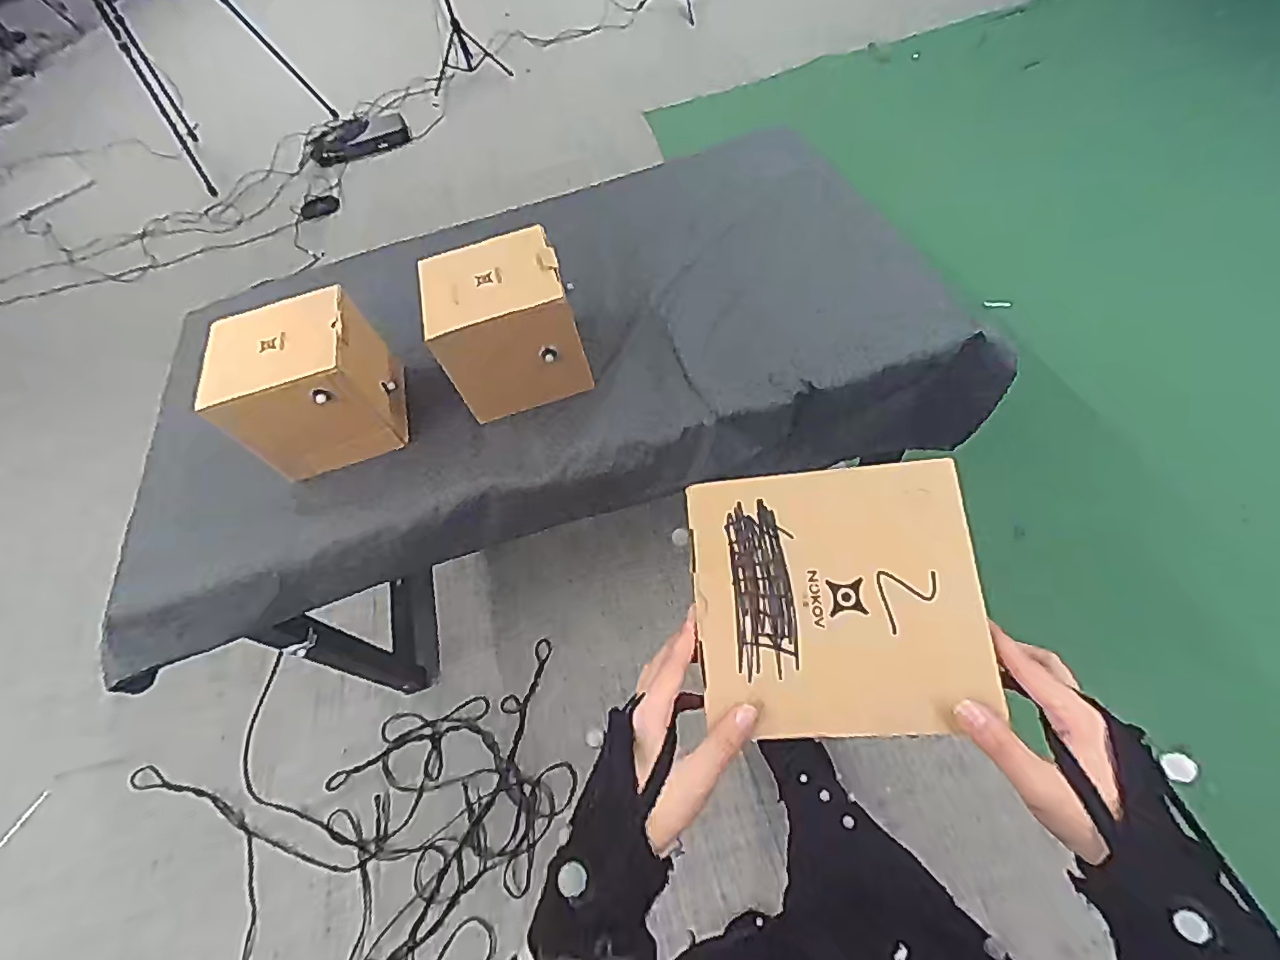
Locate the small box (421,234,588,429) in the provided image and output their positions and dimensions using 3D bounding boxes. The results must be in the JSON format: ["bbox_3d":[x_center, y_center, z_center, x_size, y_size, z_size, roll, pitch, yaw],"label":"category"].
[{"bbox_3d":[-0.181,-0.201,0.756,0.179,0.176,0.168,-19,56,-1],"label":"small box"}]

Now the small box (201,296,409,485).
[{"bbox_3d":[-0.448,-0.117,0.753,0.179,0.176,0.168,-19,57,-2],"label":"small box"}]
